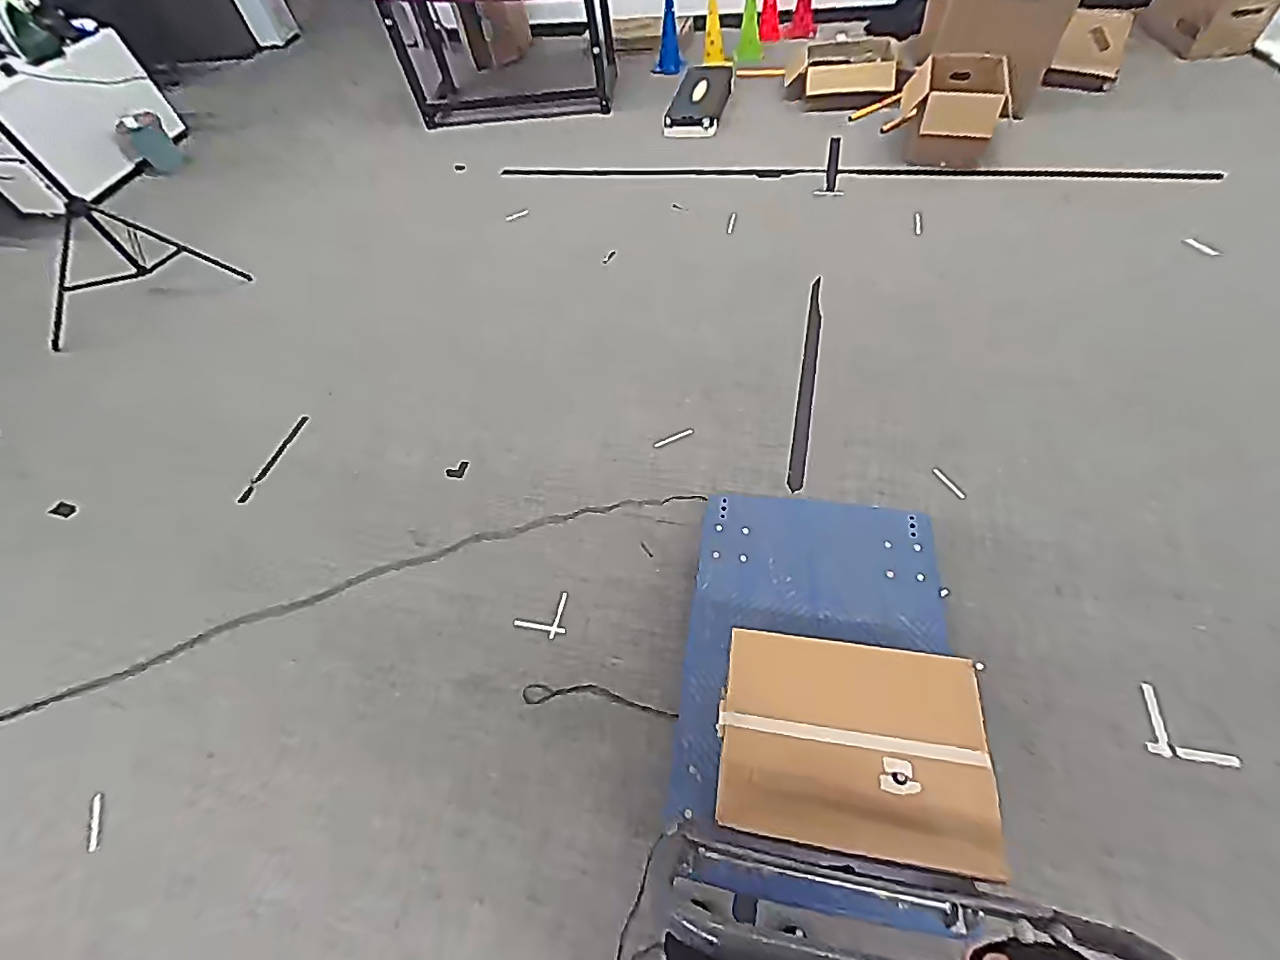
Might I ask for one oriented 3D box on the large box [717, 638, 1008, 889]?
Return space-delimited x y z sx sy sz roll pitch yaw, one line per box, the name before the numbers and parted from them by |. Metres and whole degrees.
large box | 0.351 0.508 0.979 0.408 0.320 0.320 5 57 10
